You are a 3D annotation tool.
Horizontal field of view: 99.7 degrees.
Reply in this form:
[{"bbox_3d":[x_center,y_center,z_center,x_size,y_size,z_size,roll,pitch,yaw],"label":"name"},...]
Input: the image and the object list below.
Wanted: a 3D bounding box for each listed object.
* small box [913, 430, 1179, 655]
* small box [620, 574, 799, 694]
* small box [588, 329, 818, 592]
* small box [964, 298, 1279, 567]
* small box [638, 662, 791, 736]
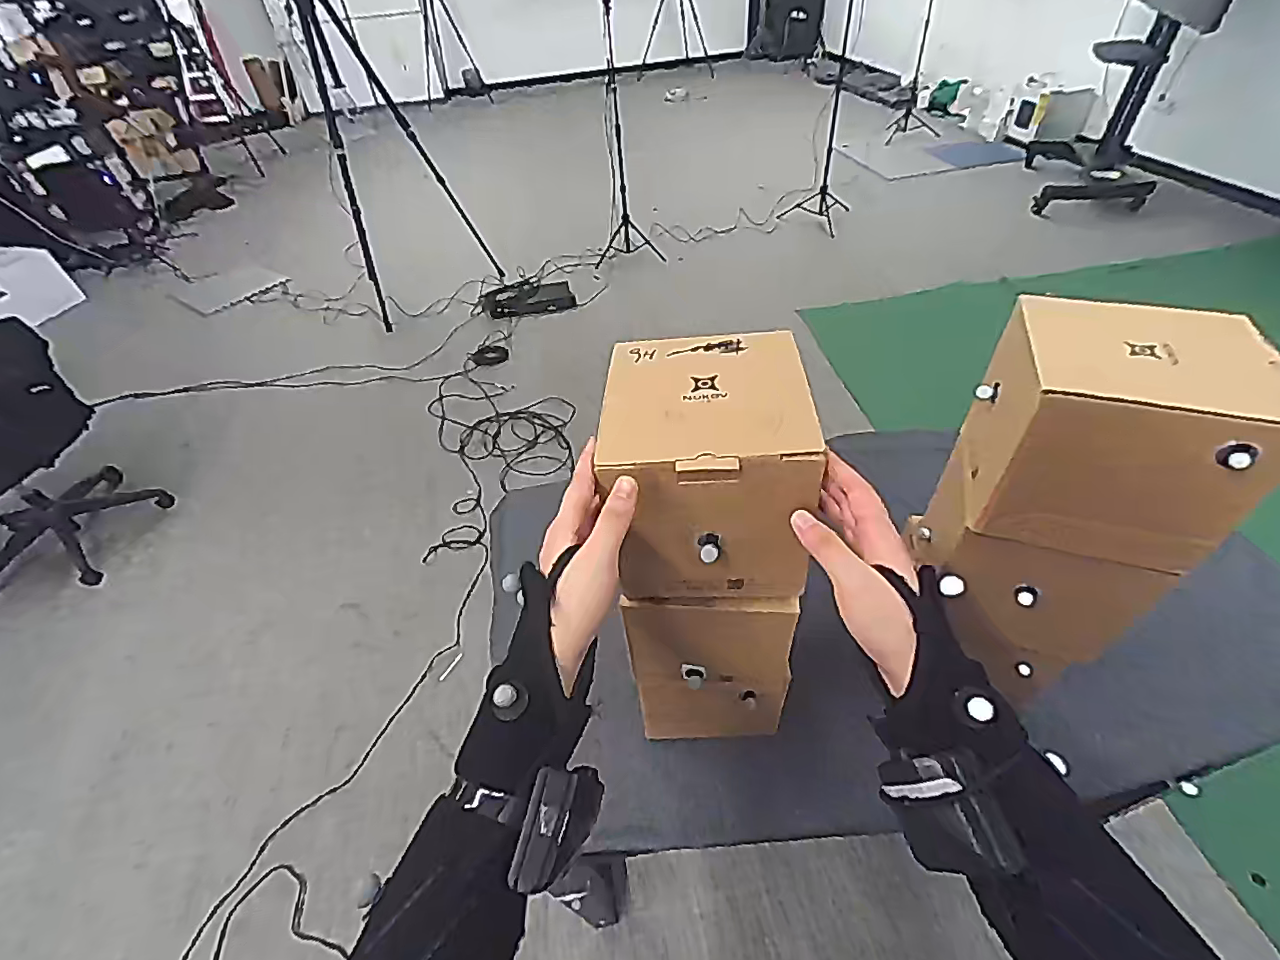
[{"bbox_3d":[0.429,0.070,0.605,0.179,0.176,0.168,14,48,19],"label":"small box"},{"bbox_3d":[0.075,0.116,0.604,0.168,0.176,0.179,-1,46,7],"label":"small box"},{"bbox_3d":[0.059,-0.011,0.490,0.168,0.176,0.179,-3,45,8],"label":"small box"},{"bbox_3d":[0.414,-0.044,0.490,0.179,0.176,0.168,12,47,17],"label":"small box"},{"bbox_3d":[0.089,0.227,0.721,0.179,0.176,0.168,-4,44,3],"label":"small box"}]
